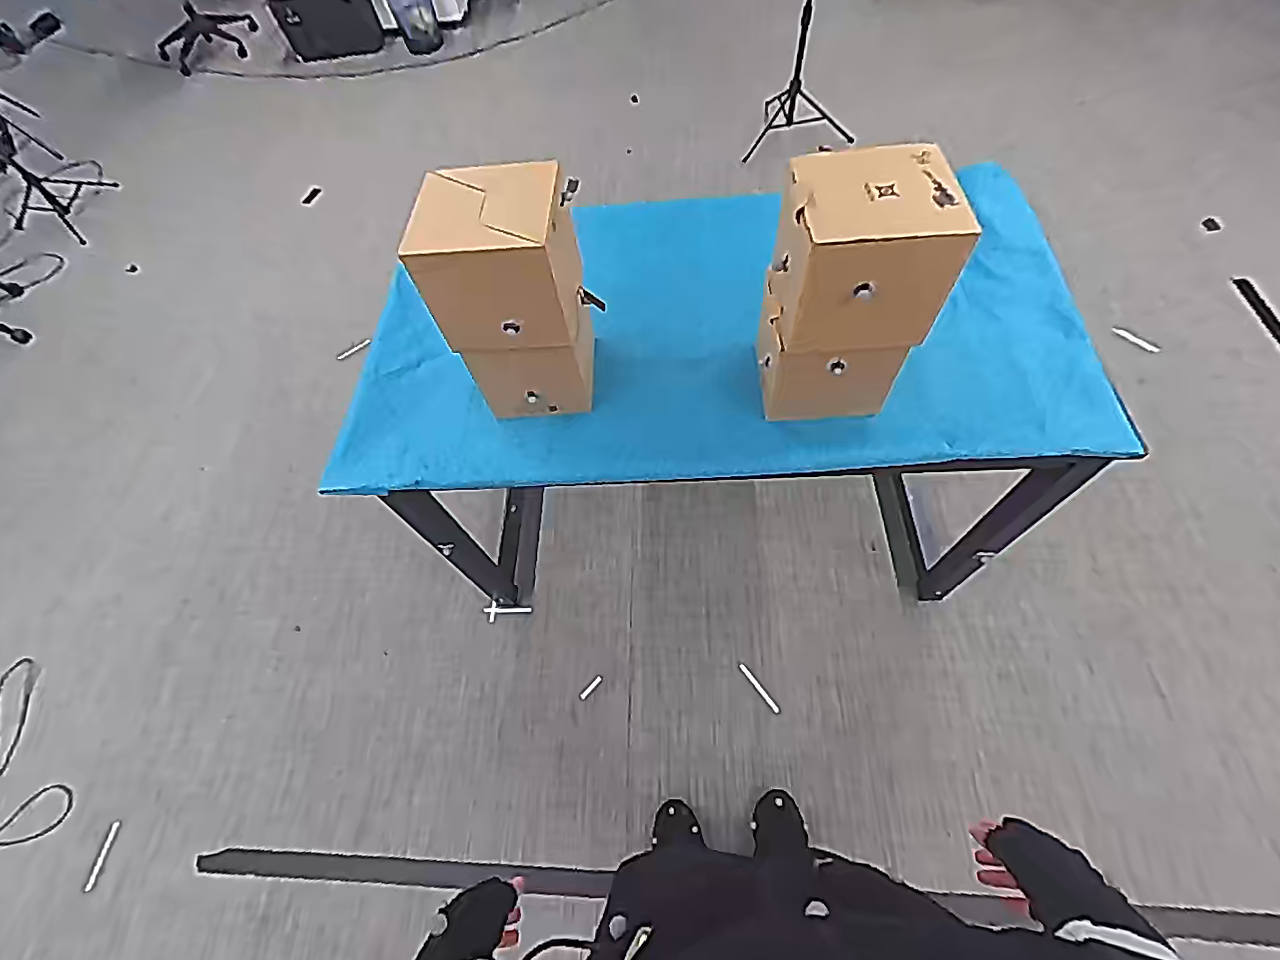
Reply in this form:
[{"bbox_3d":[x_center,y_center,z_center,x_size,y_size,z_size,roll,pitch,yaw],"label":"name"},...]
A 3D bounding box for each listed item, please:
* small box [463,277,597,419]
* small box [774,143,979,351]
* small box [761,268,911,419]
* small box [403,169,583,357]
[{"bbox_3d":[-0.168,-0.217,0.876,0.168,0.176,0.179,-1,63,8],"label":"small box"},{"bbox_3d":[0.268,-0.278,0.668,0.179,0.176,0.168,-6,60,3],"label":"small box"},{"bbox_3d":[0.278,-0.204,0.813,0.179,0.176,0.168,-3,61,6],"label":"small box"},{"bbox_3d":[-0.182,-0.287,0.724,0.179,0.176,0.168,-1,61,6],"label":"small box"}]
